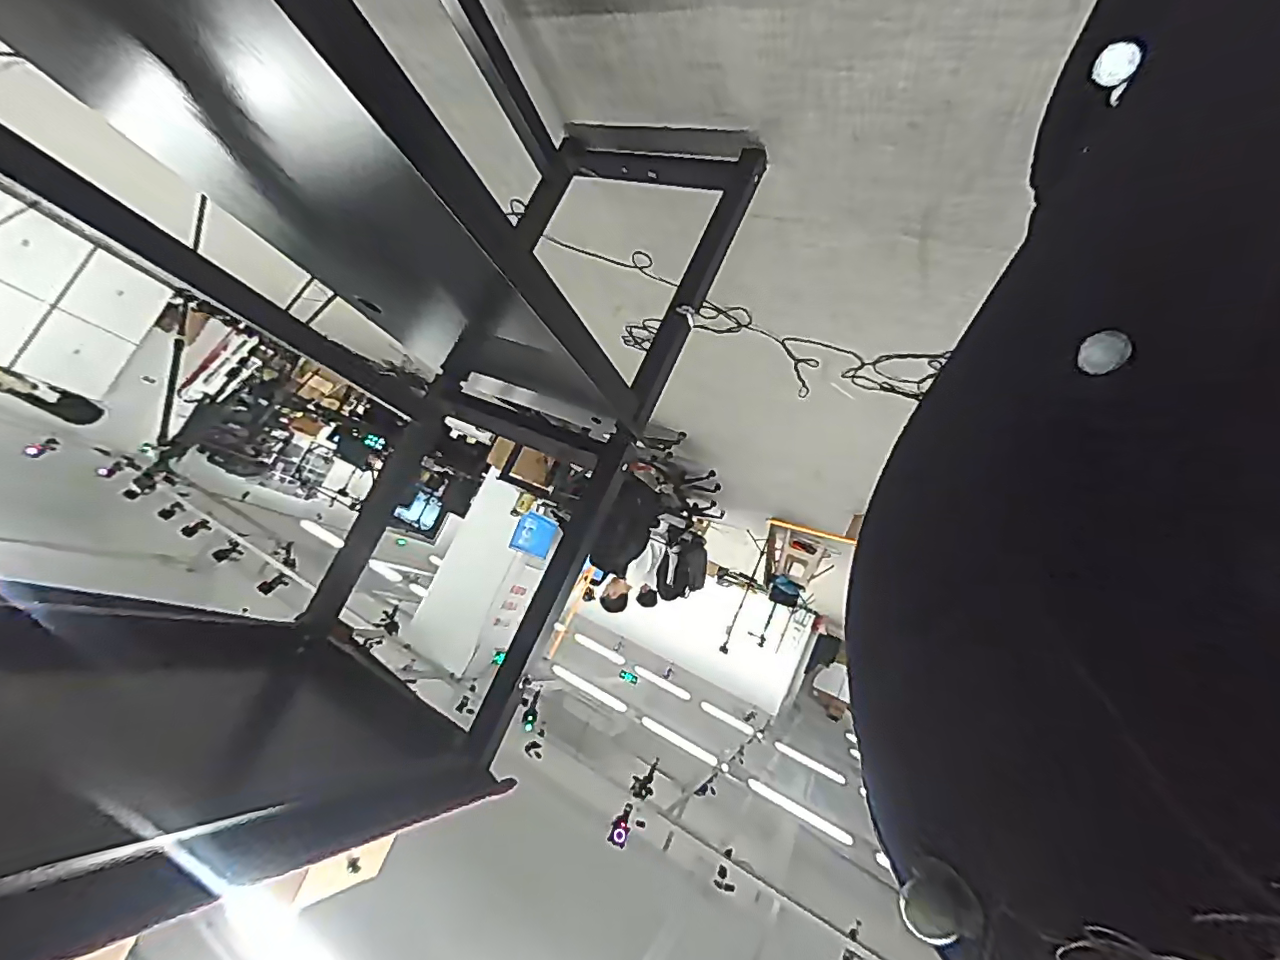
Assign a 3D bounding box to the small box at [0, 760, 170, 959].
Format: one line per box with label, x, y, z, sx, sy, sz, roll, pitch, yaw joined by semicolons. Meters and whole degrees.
small box;-0.660;0.422;0.567;0.168;0.176;0.179;23;169;24
